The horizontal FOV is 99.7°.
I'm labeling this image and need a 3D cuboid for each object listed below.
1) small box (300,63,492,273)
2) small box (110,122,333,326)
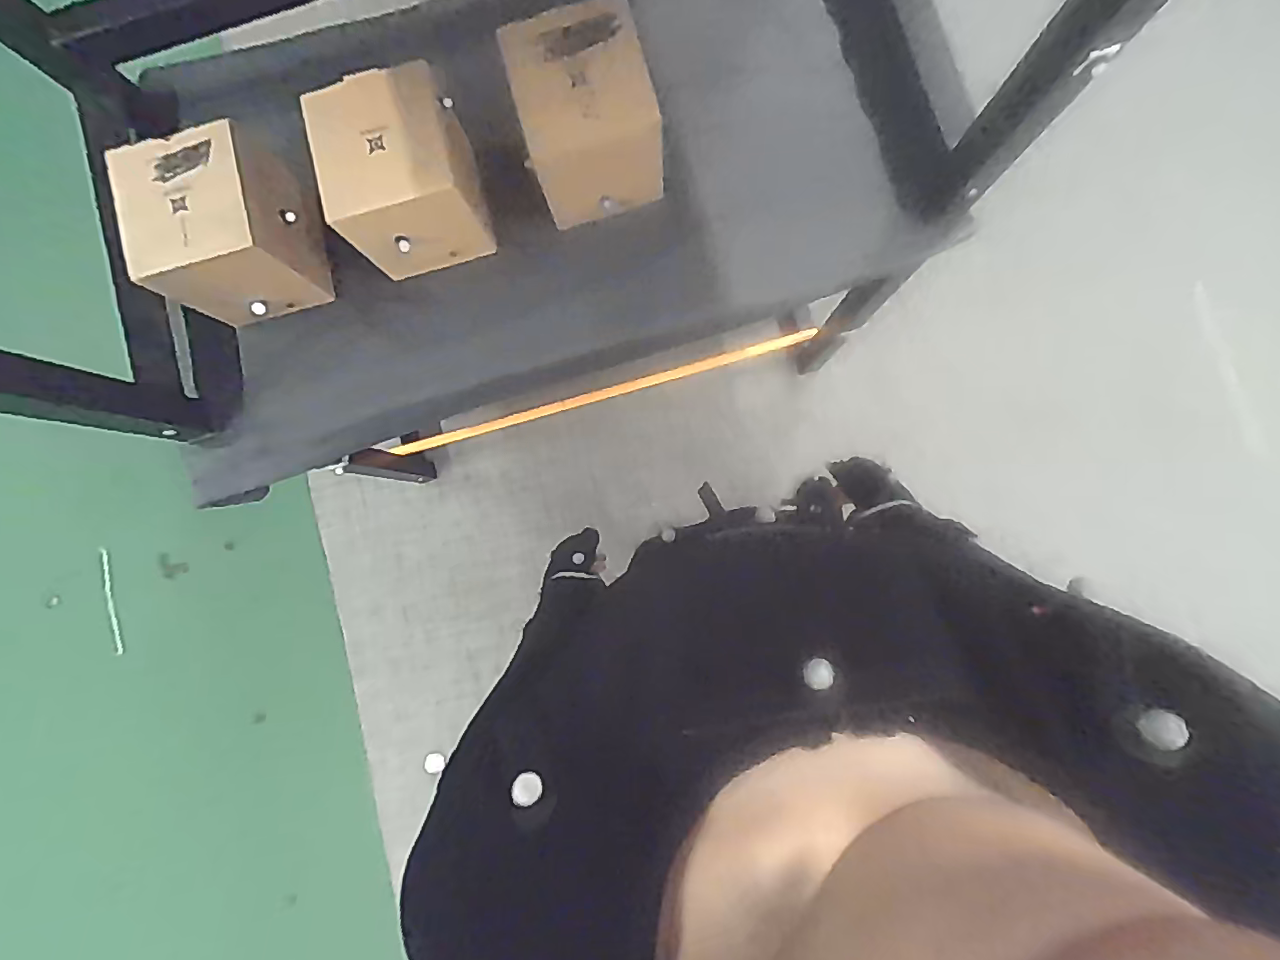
[{"bbox_3d":[-0.321,-0.408,0.744,0.168,0.176,0.179,-15,84,2],"label":"small box"},{"bbox_3d":[-0.564,-0.341,0.751,0.168,0.176,0.179,-14,85,2],"label":"small box"}]
